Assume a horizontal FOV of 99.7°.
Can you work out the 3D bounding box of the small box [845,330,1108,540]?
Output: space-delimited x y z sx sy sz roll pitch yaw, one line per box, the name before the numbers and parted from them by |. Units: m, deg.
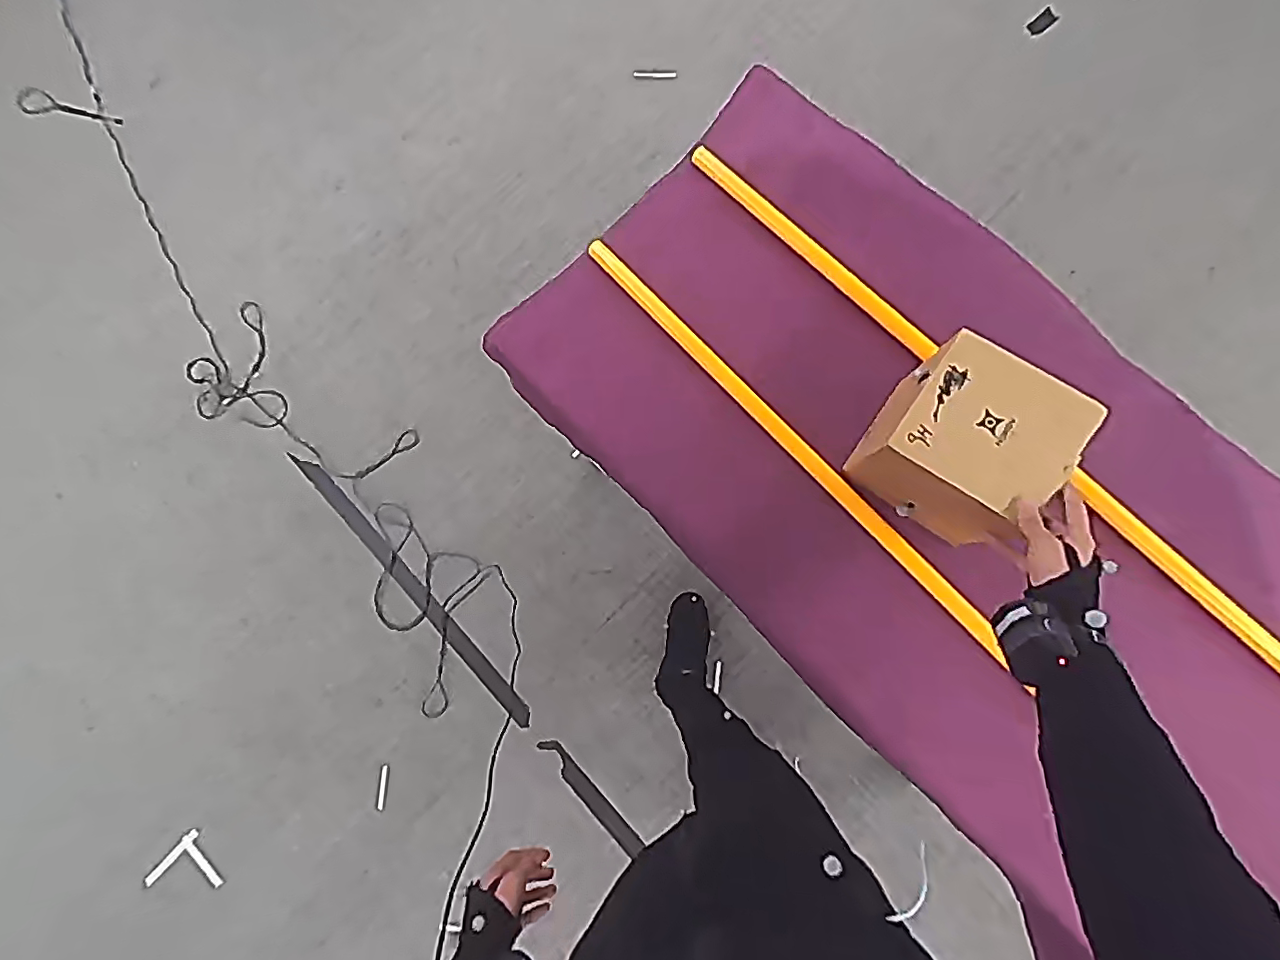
small box | 0.386 -0.042 0.656 0.179 0.176 0.168 35 84 8
